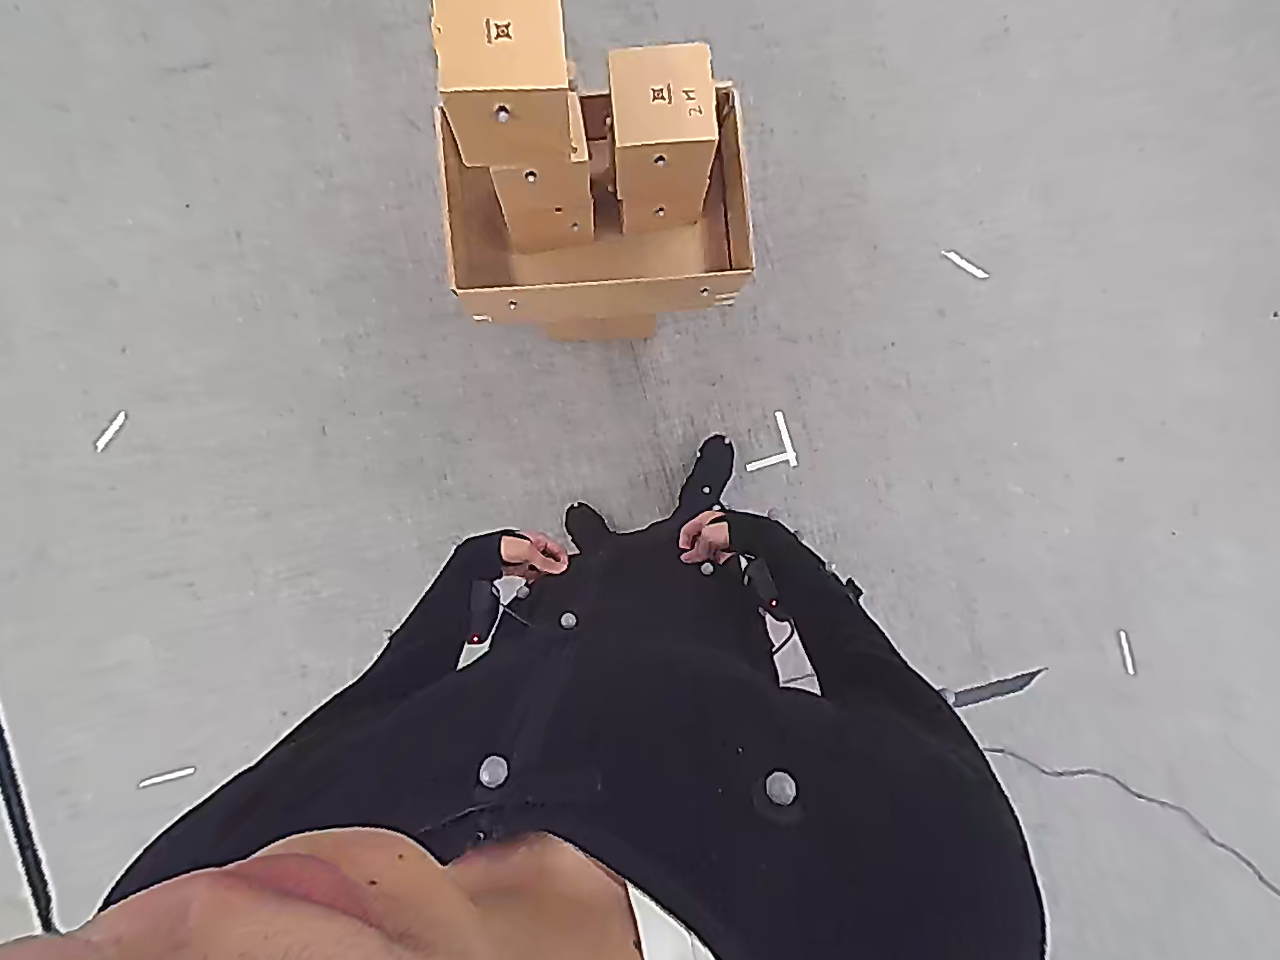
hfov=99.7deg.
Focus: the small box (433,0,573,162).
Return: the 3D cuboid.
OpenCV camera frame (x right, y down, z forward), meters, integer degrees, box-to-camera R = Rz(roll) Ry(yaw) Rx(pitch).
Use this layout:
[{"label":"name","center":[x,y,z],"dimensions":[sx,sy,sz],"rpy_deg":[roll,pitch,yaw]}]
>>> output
[{"label":"small box","center":[-0.192,-0.601,0.801],"dimensions":[0.179,0.176,0.168],"rpy_deg":[-5,89,-4]}]
